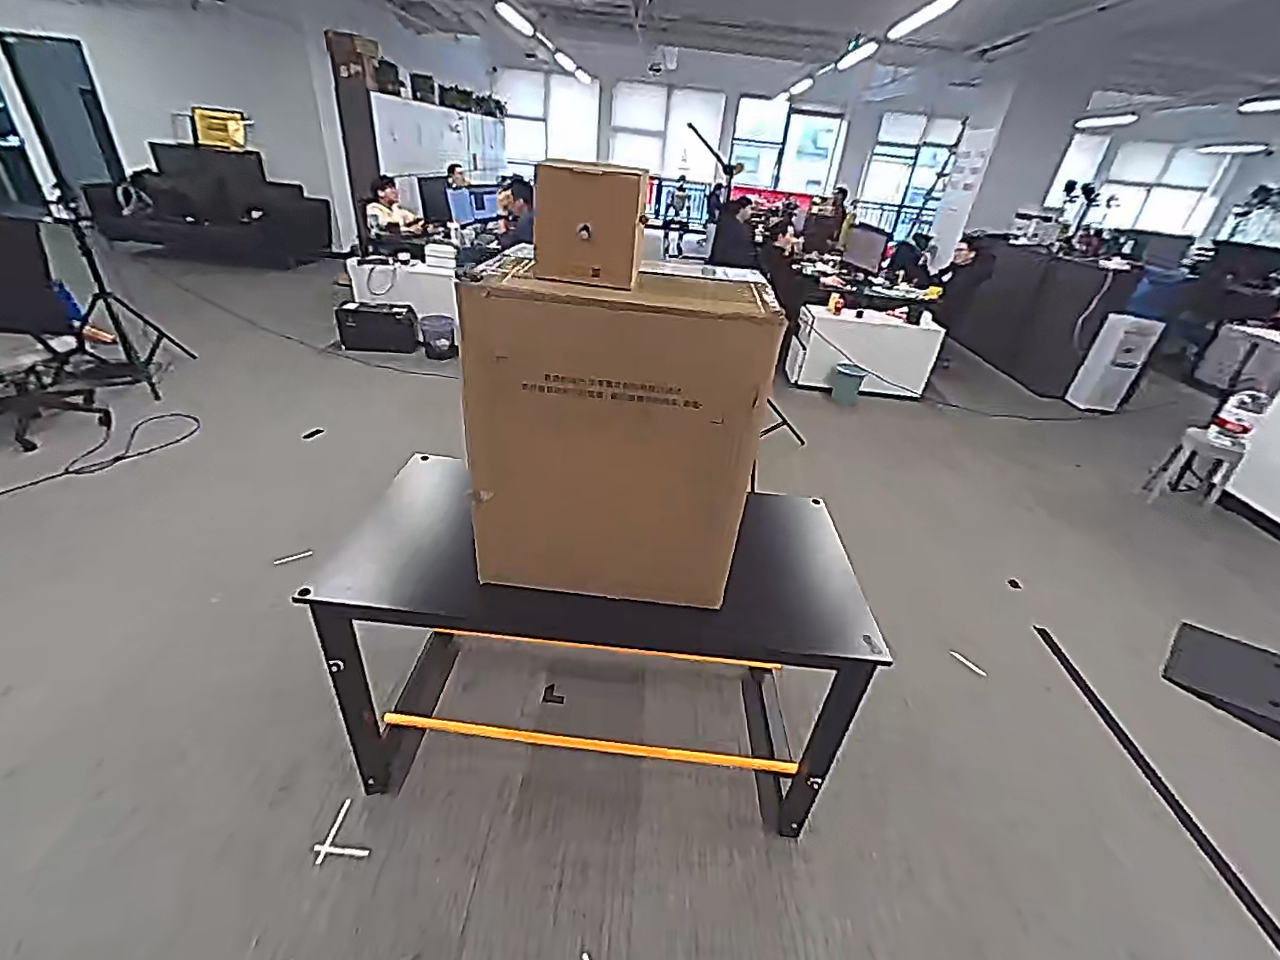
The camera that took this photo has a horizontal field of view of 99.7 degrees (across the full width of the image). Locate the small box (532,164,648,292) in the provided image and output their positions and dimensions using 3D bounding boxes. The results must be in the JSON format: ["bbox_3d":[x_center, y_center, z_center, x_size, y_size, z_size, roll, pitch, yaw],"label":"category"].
[{"bbox_3d":[-0.081,-0.433,0.926,0.168,0.176,0.179,7,34,1],"label":"small box"}]
